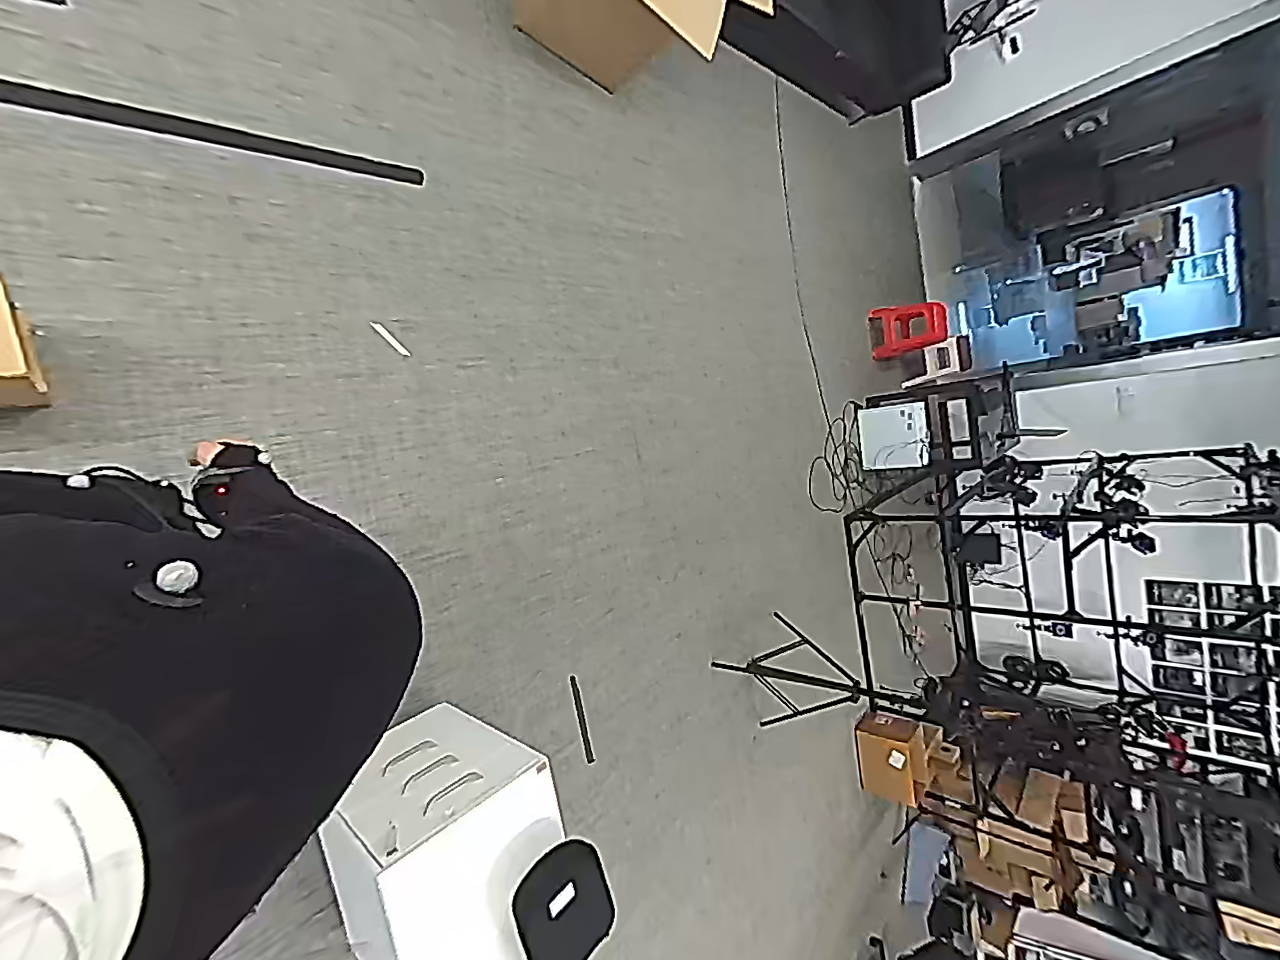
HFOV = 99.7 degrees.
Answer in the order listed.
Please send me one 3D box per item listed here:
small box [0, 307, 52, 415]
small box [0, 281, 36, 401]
[{"bbox_3d":[-1.260,-0.219,1.023,0.168,0.176,0.179,-18,100,-43],"label":"small box"},{"bbox_3d":[-1.152,-0.228,0.898,0.168,0.176,0.179,-16,98,-43],"label":"small box"}]
